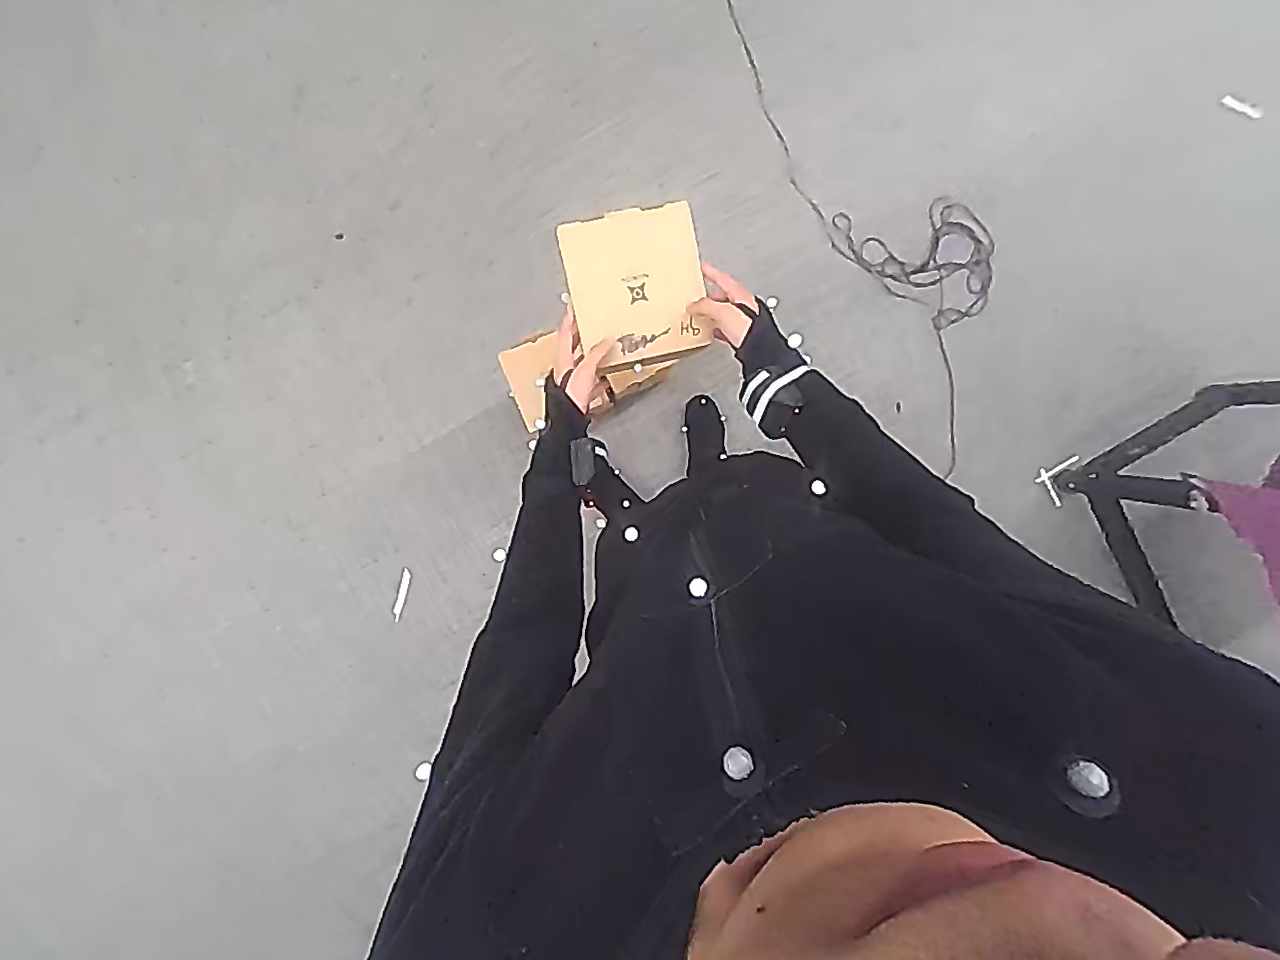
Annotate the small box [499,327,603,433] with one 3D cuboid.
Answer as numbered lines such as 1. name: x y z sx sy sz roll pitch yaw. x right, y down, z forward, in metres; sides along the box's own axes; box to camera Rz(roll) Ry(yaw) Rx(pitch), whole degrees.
1. small box: -0.186 -0.209 1.179 0.168 0.176 0.179 -22 96 0
